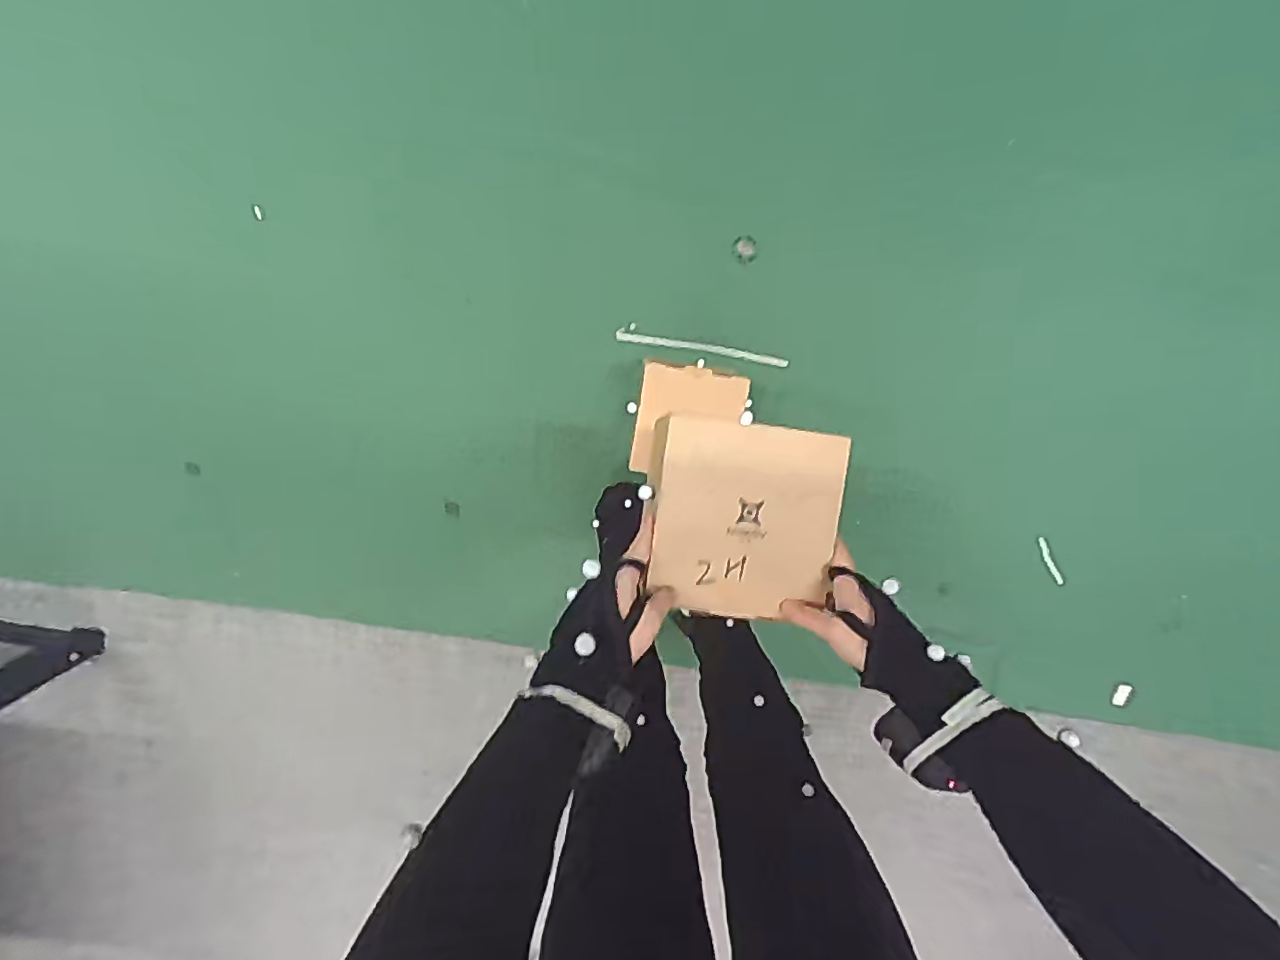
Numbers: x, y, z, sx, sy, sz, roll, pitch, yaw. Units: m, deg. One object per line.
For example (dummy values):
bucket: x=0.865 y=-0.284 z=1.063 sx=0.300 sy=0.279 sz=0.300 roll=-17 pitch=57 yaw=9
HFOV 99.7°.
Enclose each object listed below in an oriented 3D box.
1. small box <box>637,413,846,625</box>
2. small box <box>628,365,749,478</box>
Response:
small box: x=0.091 y=0.032 z=0.571 sx=0.168 sy=0.176 sz=0.179 roll=9 pitch=94 yaw=-4
small box: x=0.077 y=-0.097 z=0.931 sx=0.168 sy=0.176 sz=0.179 roll=10 pitch=103 yaw=-2
